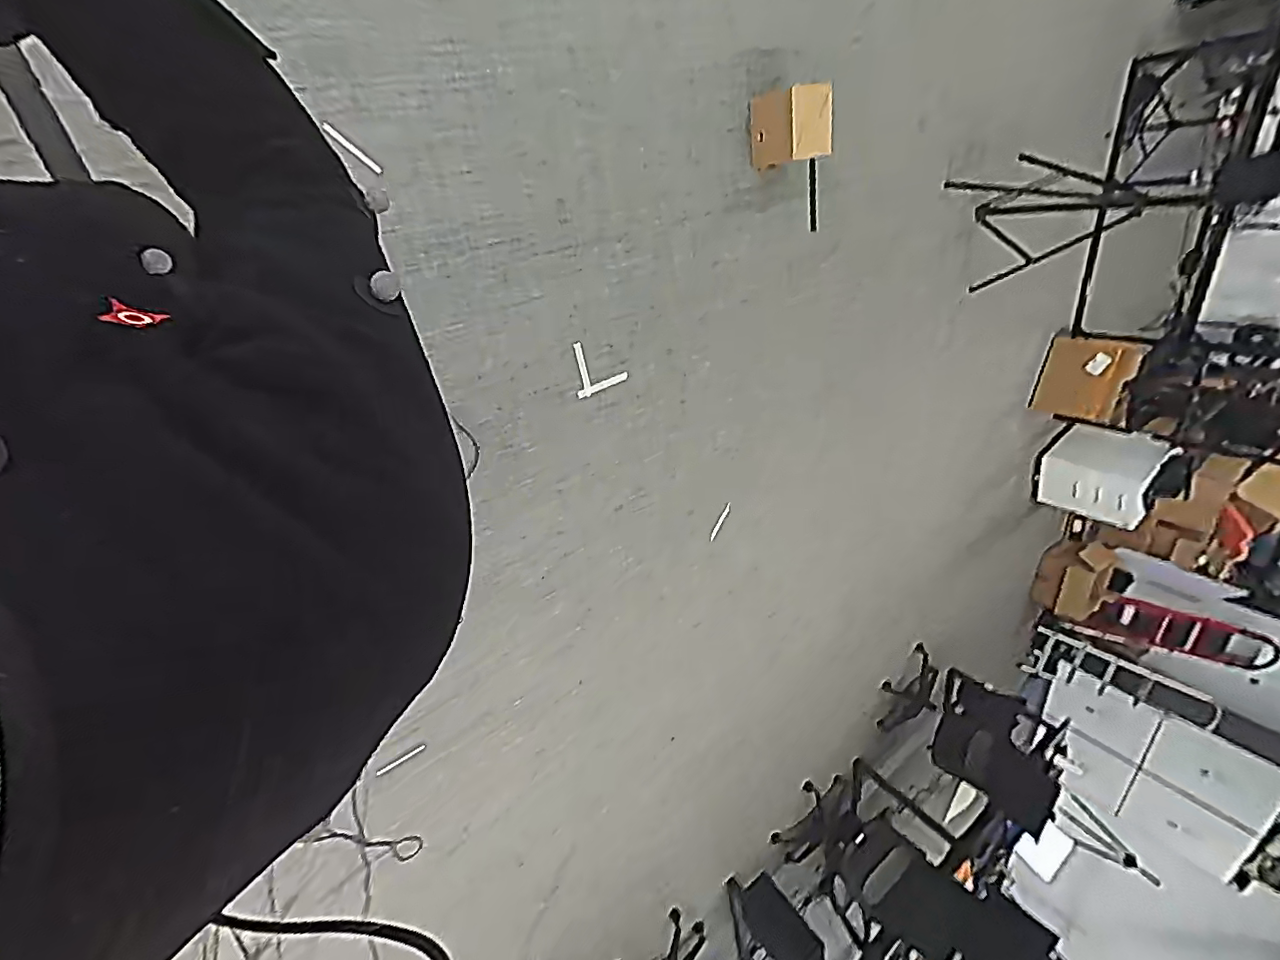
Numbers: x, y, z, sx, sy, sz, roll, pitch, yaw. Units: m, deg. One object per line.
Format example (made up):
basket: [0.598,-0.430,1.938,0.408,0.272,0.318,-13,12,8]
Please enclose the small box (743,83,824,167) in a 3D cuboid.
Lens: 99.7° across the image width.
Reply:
small box: [0.425,-1.043,1.594,0.168,0.176,0.179,-25,122,-27]
